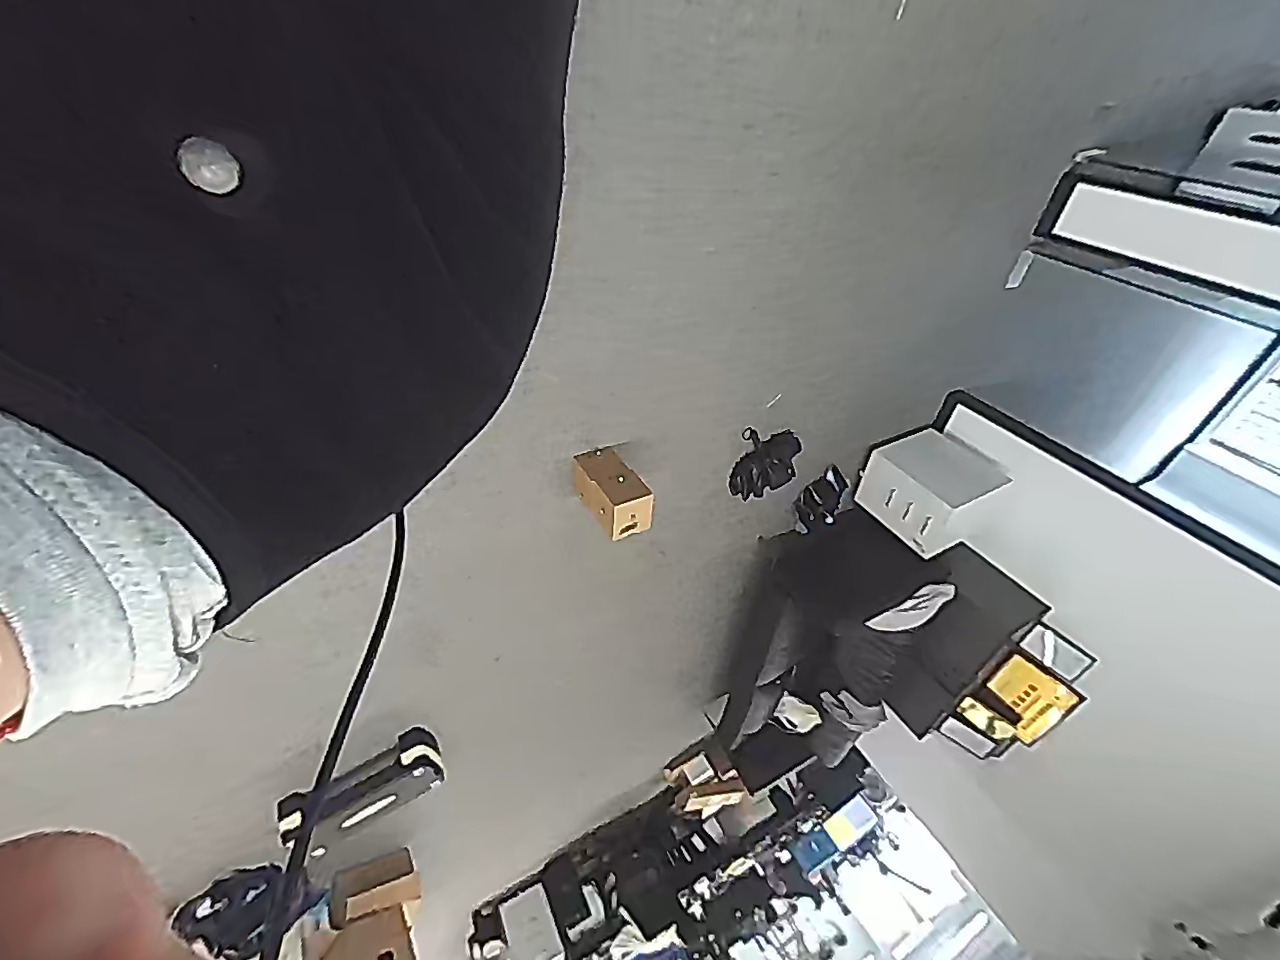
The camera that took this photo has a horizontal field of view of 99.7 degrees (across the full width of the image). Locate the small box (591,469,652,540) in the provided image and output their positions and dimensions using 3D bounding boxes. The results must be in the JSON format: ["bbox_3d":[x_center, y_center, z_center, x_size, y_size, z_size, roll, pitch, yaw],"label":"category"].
[{"bbox_3d":[-0.074,0.089,2.028,0.168,0.176,0.179,-18,134,-26],"label":"small box"}]

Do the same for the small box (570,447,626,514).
[{"bbox_3d":[-0.165,0.000,2.132,0.168,0.176,0.179,-20,134,-25],"label":"small box"}]
